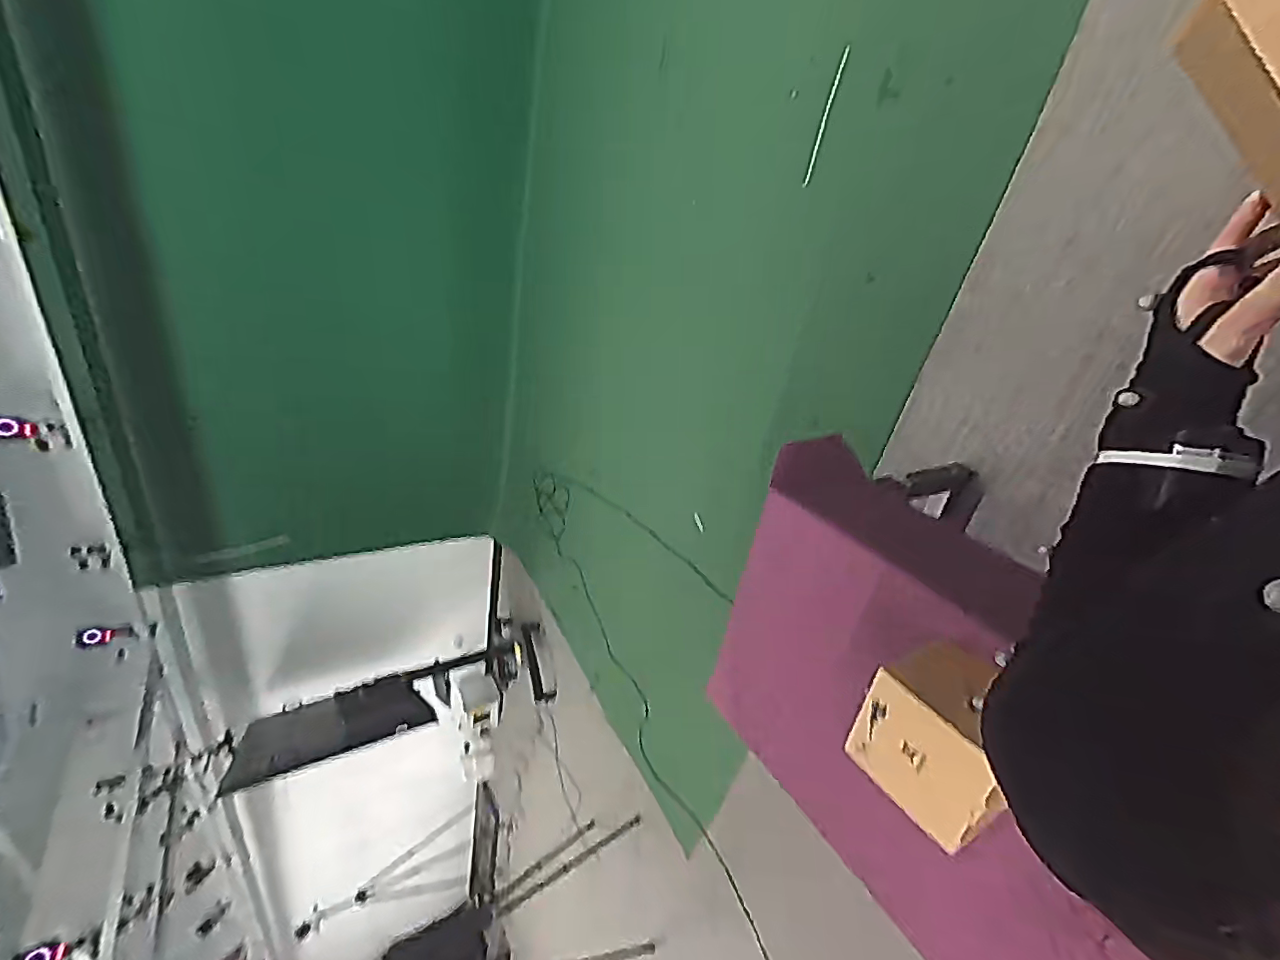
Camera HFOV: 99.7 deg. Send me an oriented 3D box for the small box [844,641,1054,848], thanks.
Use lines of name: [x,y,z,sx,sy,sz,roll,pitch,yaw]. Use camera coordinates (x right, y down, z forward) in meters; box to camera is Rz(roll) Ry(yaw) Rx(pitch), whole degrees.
small box: [0.432,0.356,0.764,0.179,0.176,0.168,39,128,47]

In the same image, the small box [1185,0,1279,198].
small box: [0.409,-0.237,0.254,0.168,0.176,0.179,-31,94,45]
